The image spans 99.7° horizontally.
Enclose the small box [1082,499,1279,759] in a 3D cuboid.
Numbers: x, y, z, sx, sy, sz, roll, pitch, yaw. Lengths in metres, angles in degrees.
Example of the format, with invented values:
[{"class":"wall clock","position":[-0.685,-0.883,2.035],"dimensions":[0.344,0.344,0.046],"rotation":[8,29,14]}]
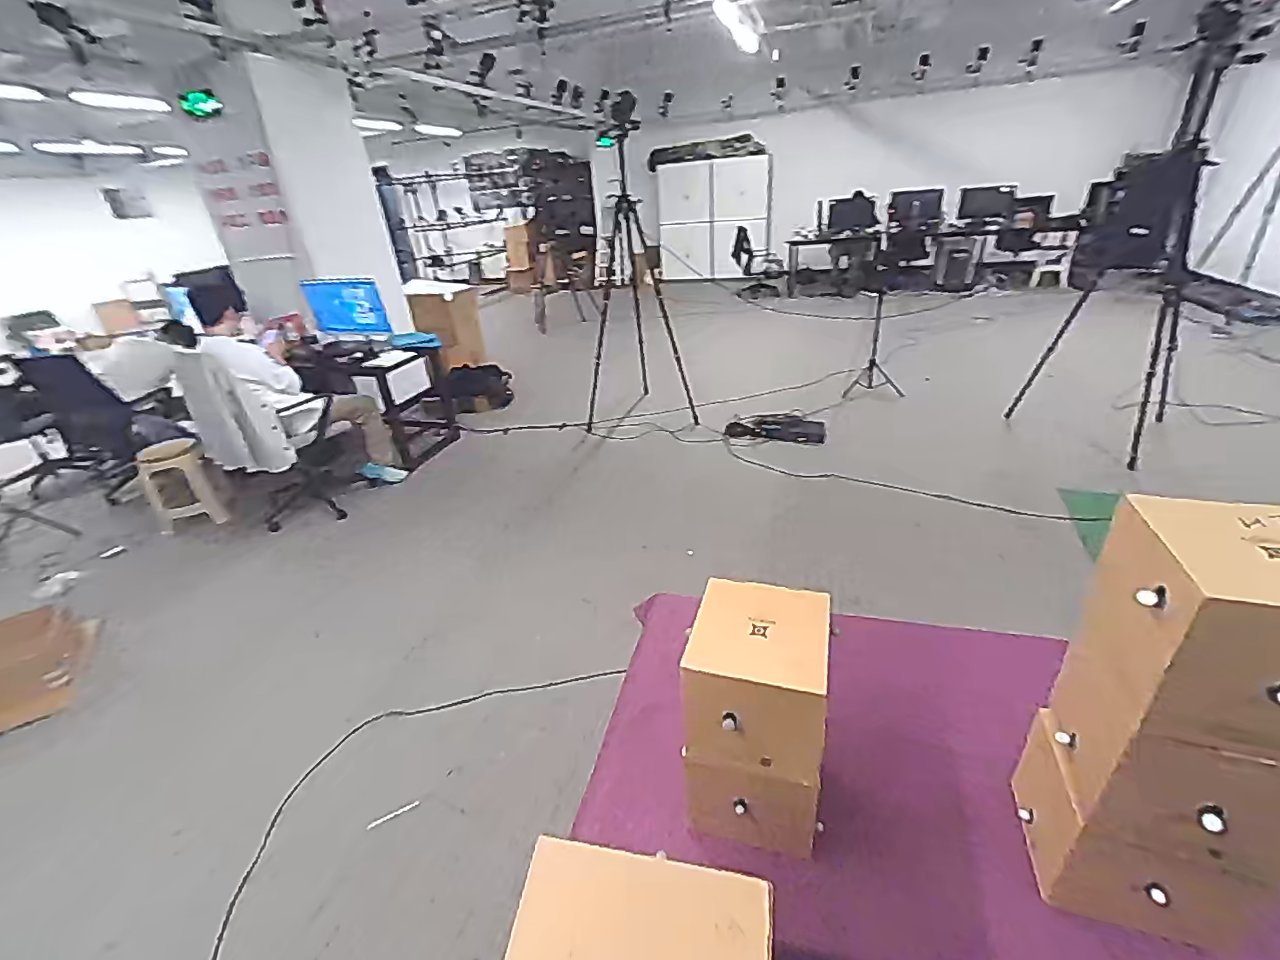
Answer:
[{"class":"small box","position":[0.566,0.139,0.517],"dimensions":[0.168,0.176,0.179],"rotation":[6,29,20]}]

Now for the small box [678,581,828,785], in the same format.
[{"class":"small box","position":[0.155,0.262,0.714],"dimensions":[0.168,0.176,0.179],"rotation":[5,28,18]}]

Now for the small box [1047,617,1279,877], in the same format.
[{"class":"small box","position":[0.582,0.284,0.594],"dimensions":[0.168,0.176,0.179],"rotation":[7,31,21]}]

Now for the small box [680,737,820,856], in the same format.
[{"class":"small box","position":[0.165,0.406,0.788],"dimensions":[0.179,0.176,0.168],"rotation":[4,29,18]}]
